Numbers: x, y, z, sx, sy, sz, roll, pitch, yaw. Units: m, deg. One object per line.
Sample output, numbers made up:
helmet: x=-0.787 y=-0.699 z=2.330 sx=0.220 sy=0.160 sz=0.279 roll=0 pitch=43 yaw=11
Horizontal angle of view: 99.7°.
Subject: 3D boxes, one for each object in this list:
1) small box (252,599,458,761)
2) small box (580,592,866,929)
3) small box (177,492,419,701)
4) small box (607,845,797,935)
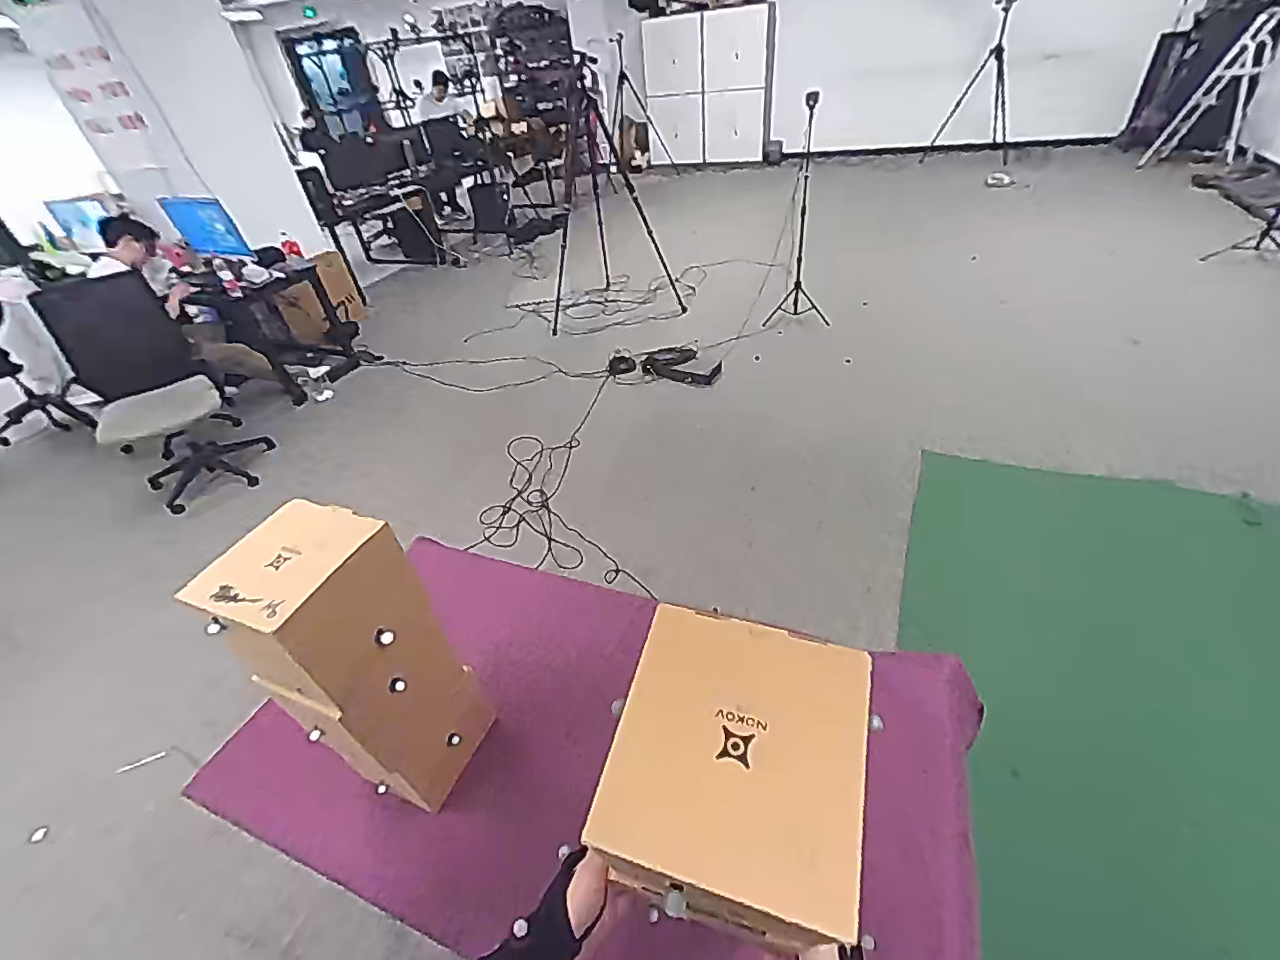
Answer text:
small box: x=-0.399 y=0.274 z=0.792 sx=0.168 sy=0.176 sz=0.179 roll=12 pitch=44 yaw=22
small box: x=0.073 y=0.221 z=0.429 sx=0.168 sy=0.176 sz=0.179 roll=10 pitch=50 yaw=16
small box: x=-0.413 y=0.144 z=0.692 sx=0.168 sy=0.176 sz=0.179 roll=10 pitch=43 yaw=21
small box: x=0.082 y=0.328 z=0.550 sx=0.168 sy=0.176 sz=0.179 roll=10 pitch=50 yaw=16
